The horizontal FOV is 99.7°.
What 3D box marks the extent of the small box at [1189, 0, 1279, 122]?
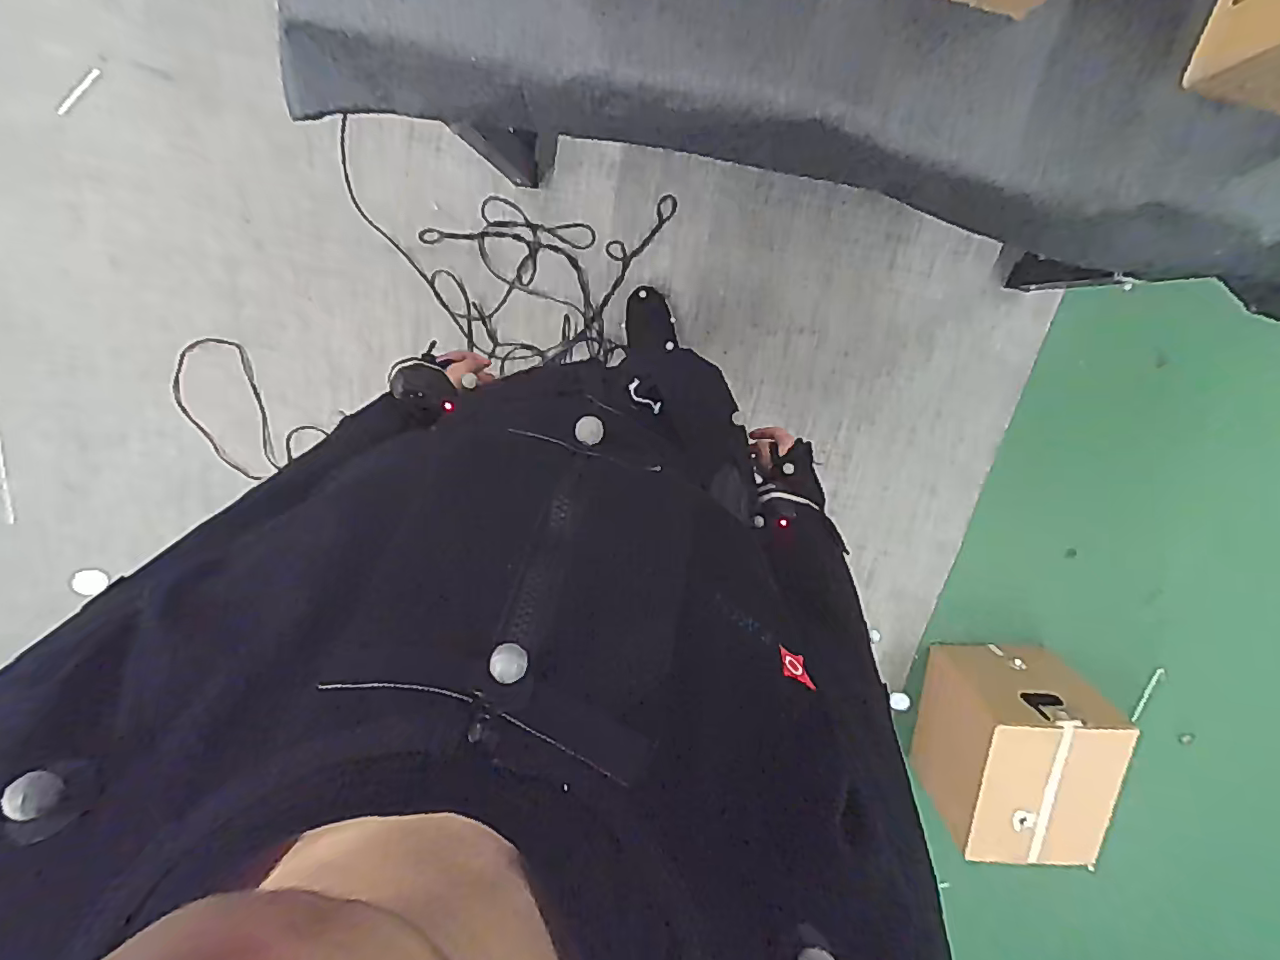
[{"bbox_3d":[0.584,-0.382,0.394,0.179,0.176,0.168,13,106,-2],"label":"small box"}]
